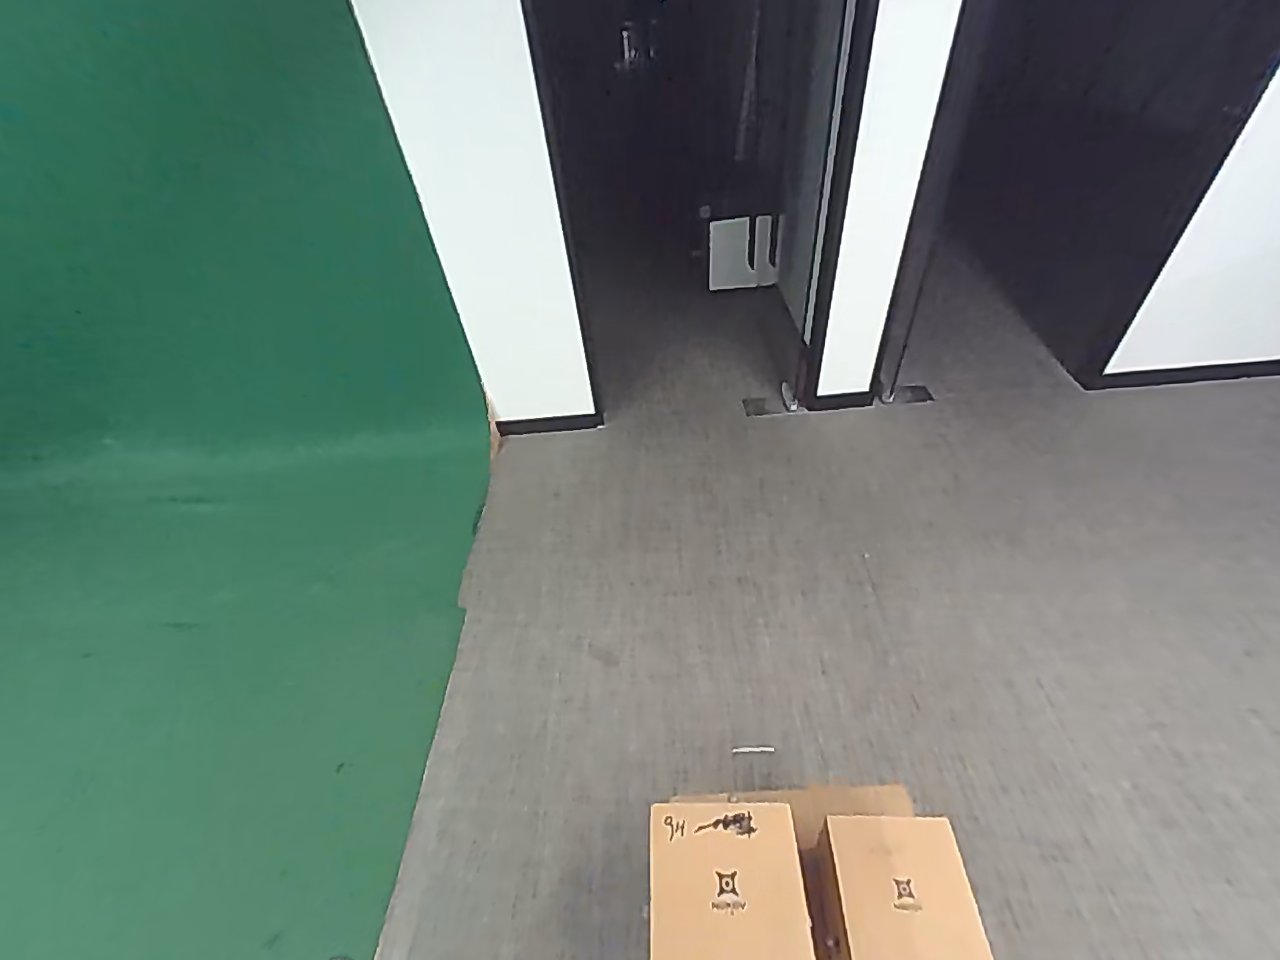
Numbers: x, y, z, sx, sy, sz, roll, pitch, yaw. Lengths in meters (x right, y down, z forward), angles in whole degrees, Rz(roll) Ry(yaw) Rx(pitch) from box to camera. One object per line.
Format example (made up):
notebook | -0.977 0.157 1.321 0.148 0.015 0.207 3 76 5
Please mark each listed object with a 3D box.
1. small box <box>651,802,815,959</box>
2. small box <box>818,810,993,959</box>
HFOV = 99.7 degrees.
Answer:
small box | 0.101 0.495 0.632 0.168 0.176 0.179 -3 46 3
small box | 0.349 0.579 0.744 0.168 0.176 0.179 -2 43 7
